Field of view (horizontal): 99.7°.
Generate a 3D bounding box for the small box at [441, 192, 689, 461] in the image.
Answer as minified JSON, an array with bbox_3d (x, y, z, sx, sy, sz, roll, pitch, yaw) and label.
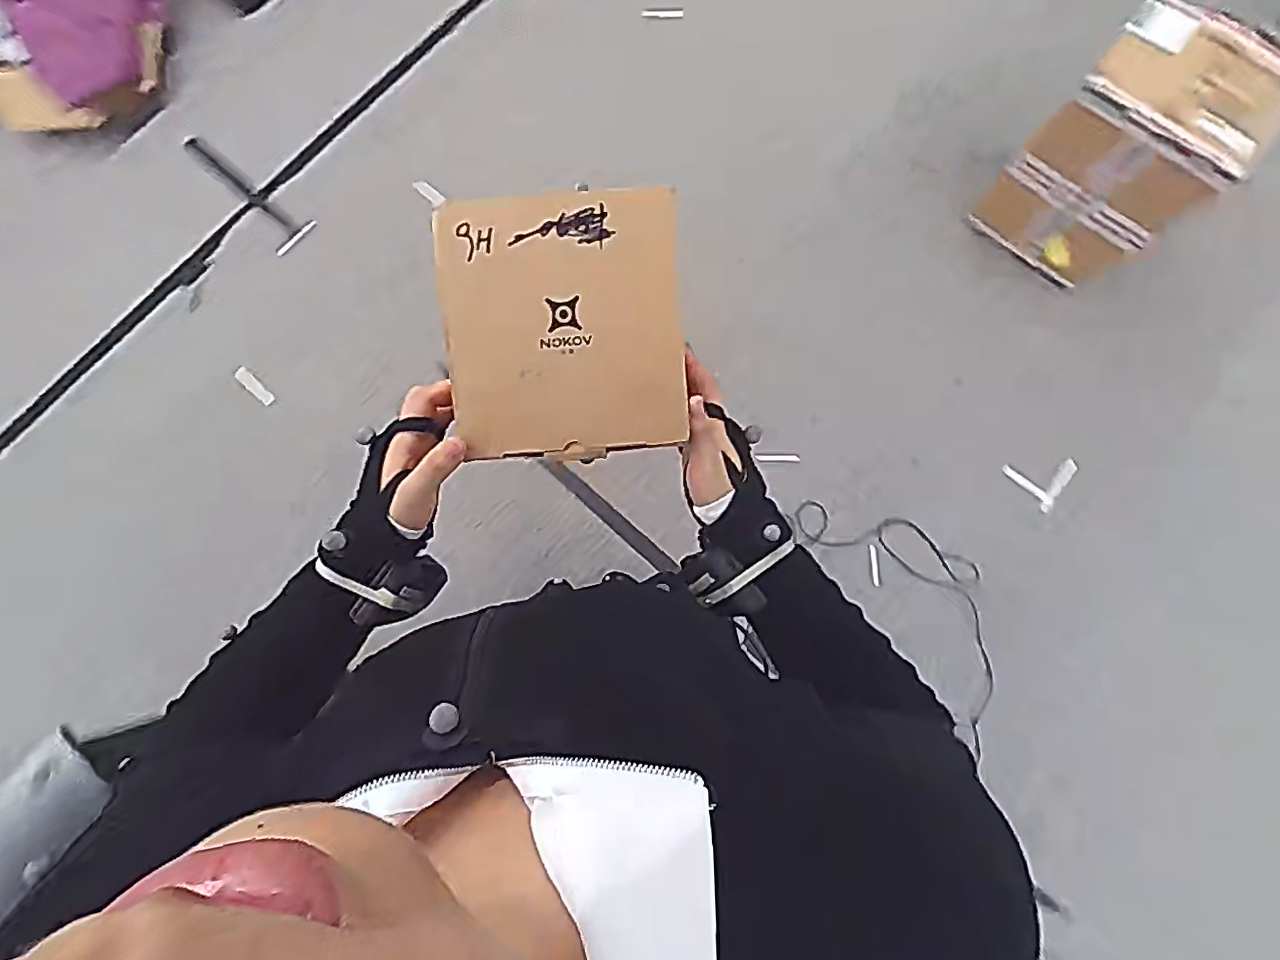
[{"bbox_3d":[-0.047,-0.115,0.452,0.168,0.176,0.179,-3,99,1],"label":"small box"}]
